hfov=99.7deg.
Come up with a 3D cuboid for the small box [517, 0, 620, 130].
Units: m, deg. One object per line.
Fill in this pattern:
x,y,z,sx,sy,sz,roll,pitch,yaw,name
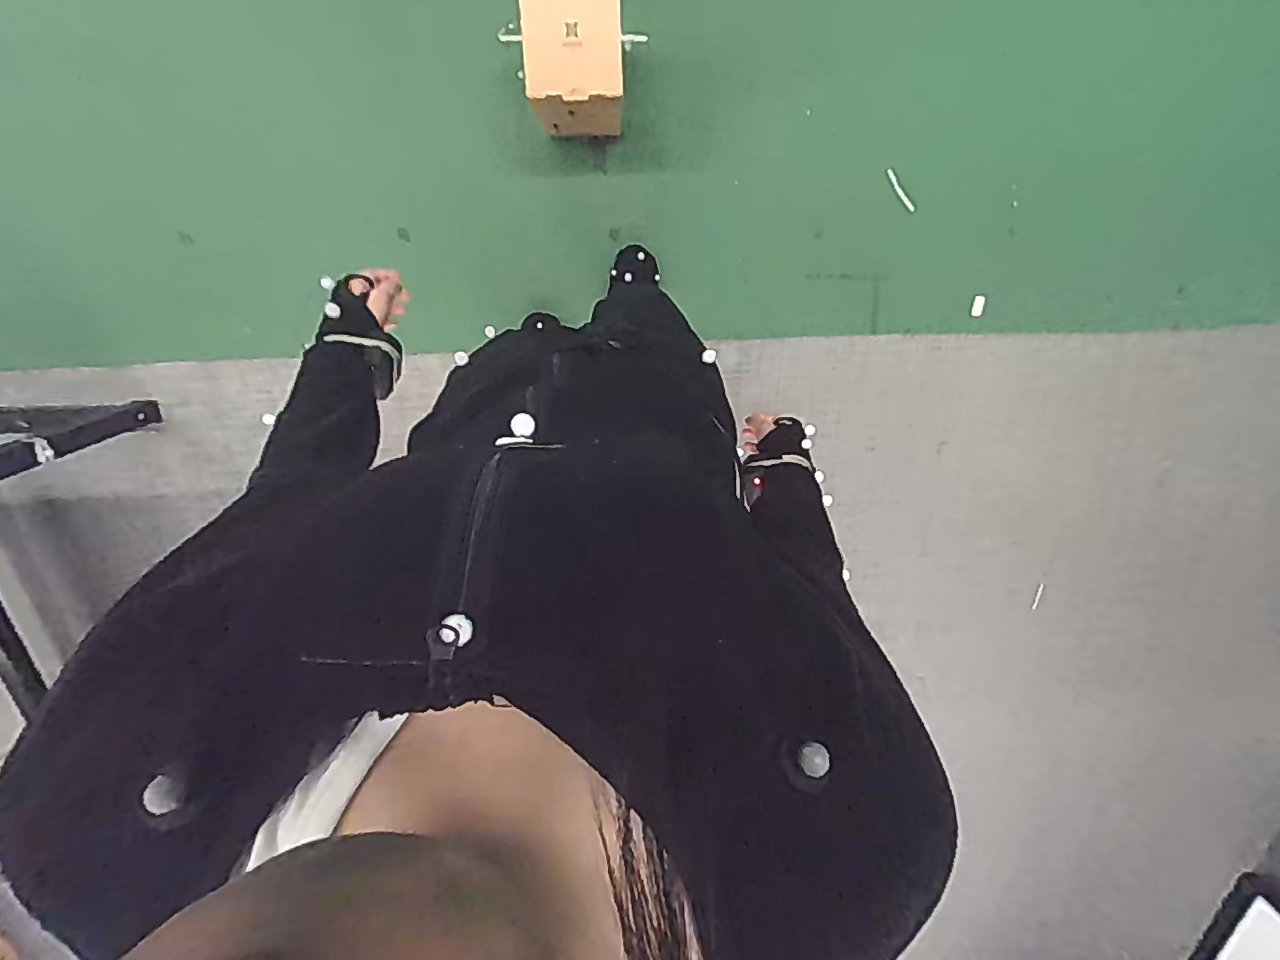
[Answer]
-0.124,-0.745,0.960,0.168,0.176,0.179,-3,112,-4,small box
